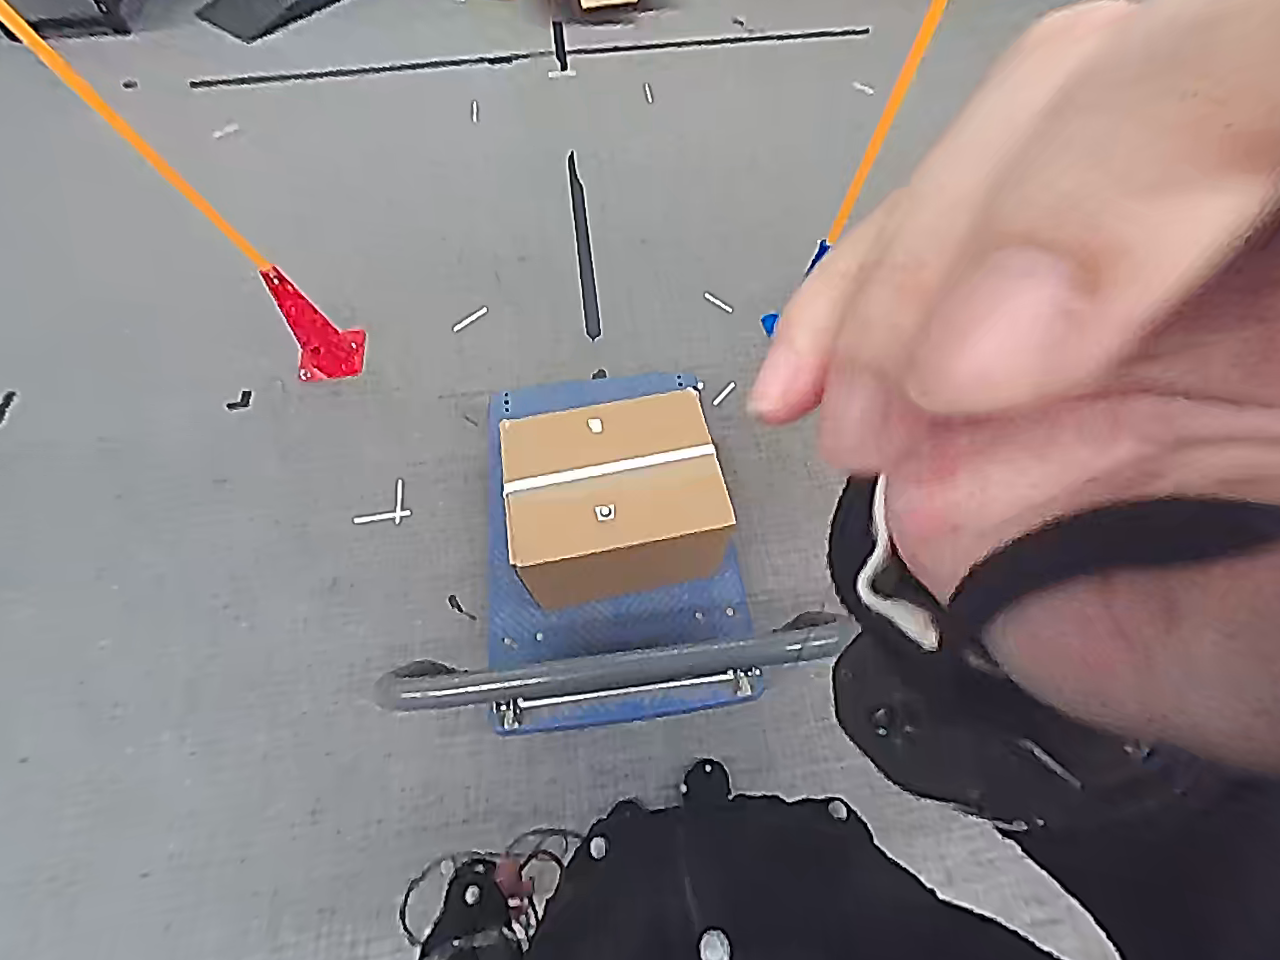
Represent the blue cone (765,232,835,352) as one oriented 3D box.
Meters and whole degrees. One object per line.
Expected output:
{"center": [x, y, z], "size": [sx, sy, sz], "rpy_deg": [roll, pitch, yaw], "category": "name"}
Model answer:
{"center": [0.533, -0.587, 1.676], "size": [0.193, 0.380, 0.192], "rpy_deg": [-10, 62, -6], "category": "blue cone"}
